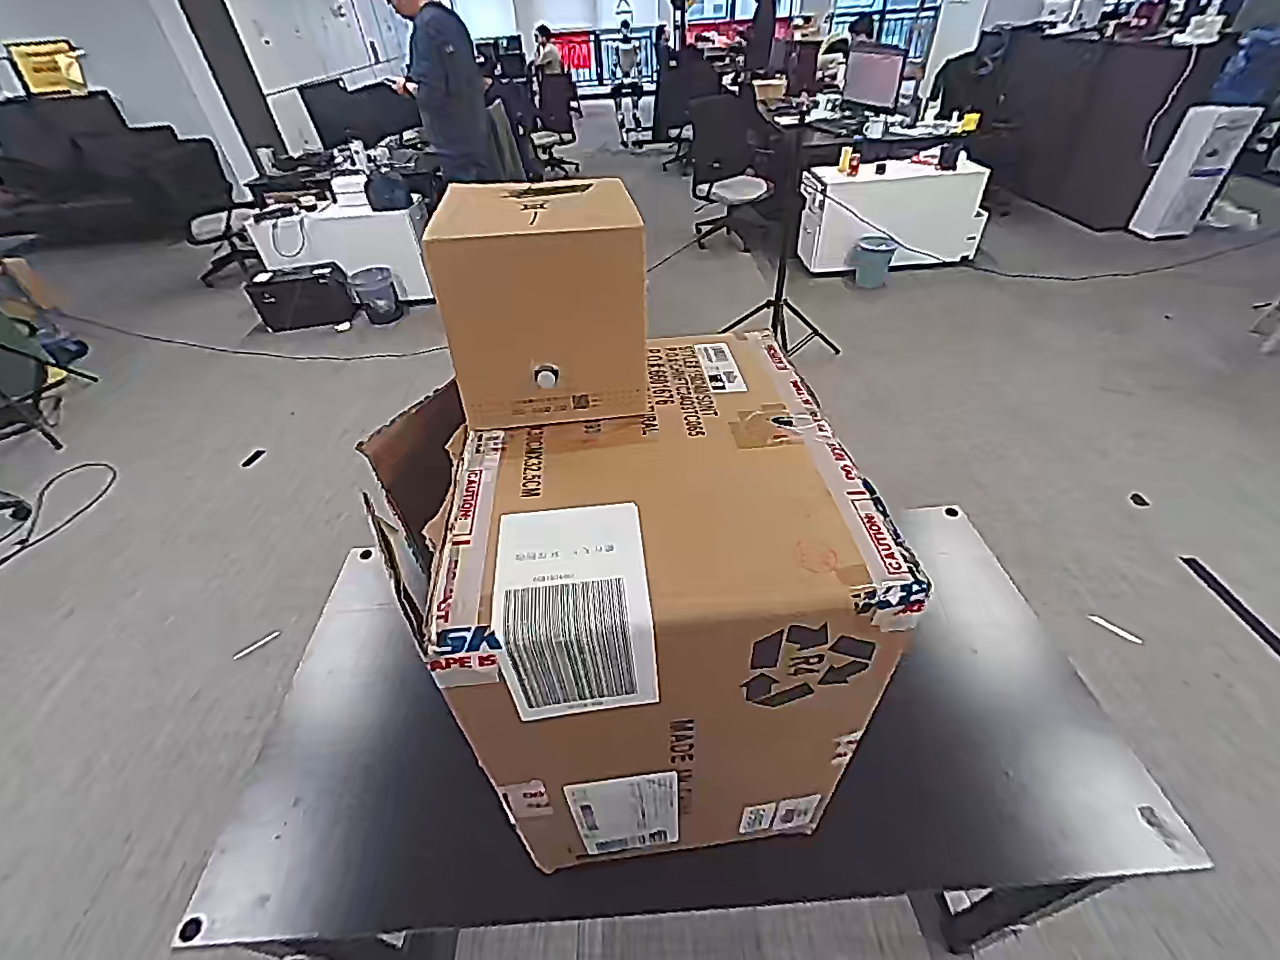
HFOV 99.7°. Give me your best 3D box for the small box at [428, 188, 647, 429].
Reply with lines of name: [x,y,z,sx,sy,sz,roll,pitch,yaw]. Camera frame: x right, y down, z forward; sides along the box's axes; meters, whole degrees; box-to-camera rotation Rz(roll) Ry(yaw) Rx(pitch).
small box: [-0.086,-0.168,0.519,0.168,0.176,0.179,-6,40,-5]
